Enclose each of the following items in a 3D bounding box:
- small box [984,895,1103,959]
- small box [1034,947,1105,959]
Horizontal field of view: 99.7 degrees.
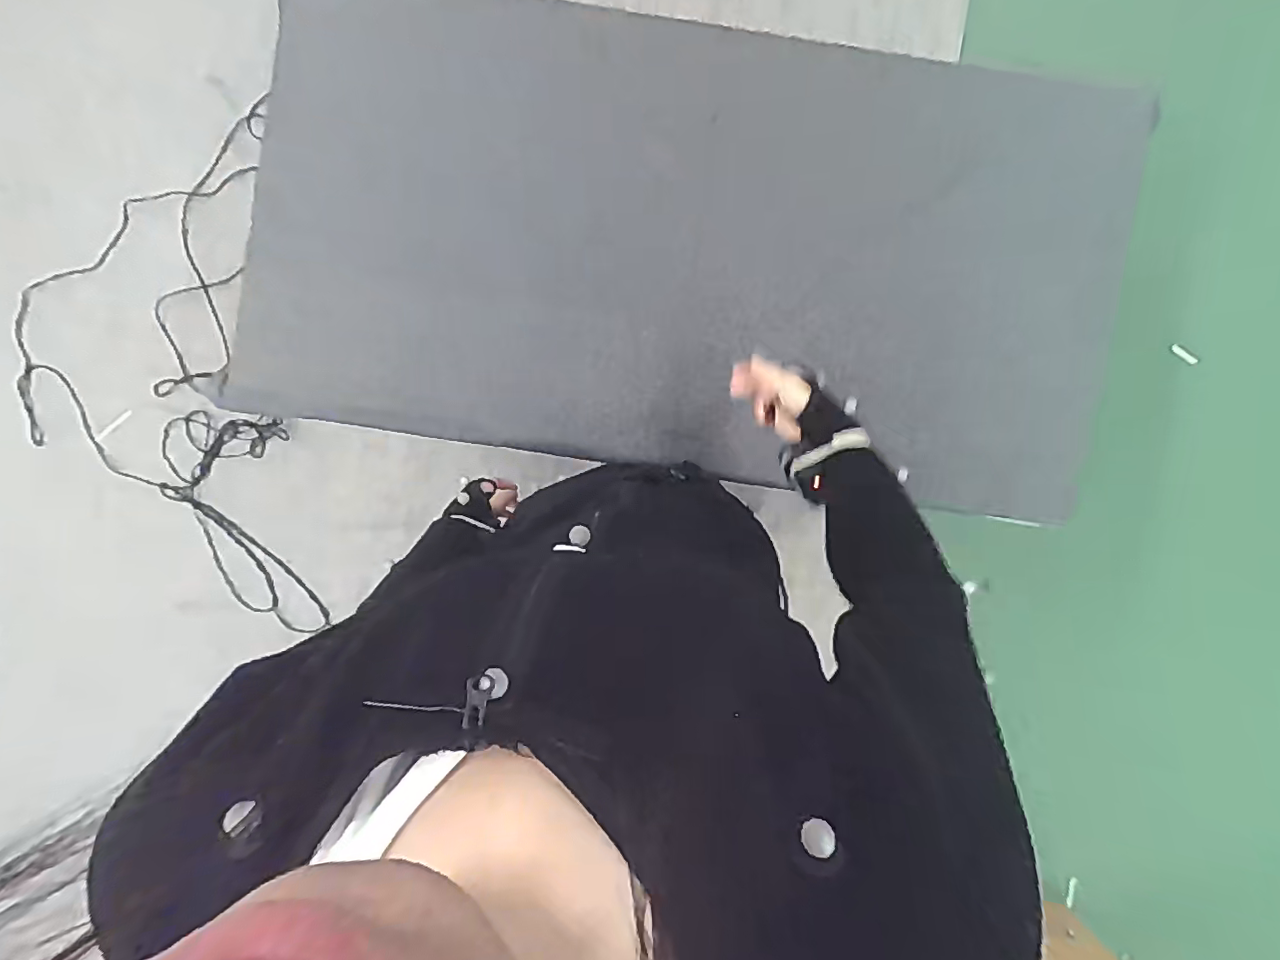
[{"bbox_3d":[1.056,1.243,1.427,0.179,0.176,0.168,9,91,0],"label":"small box"},{"bbox_3d":[1.057,1.249,1.265,0.179,0.176,0.168,8,92,0],"label":"small box"}]
